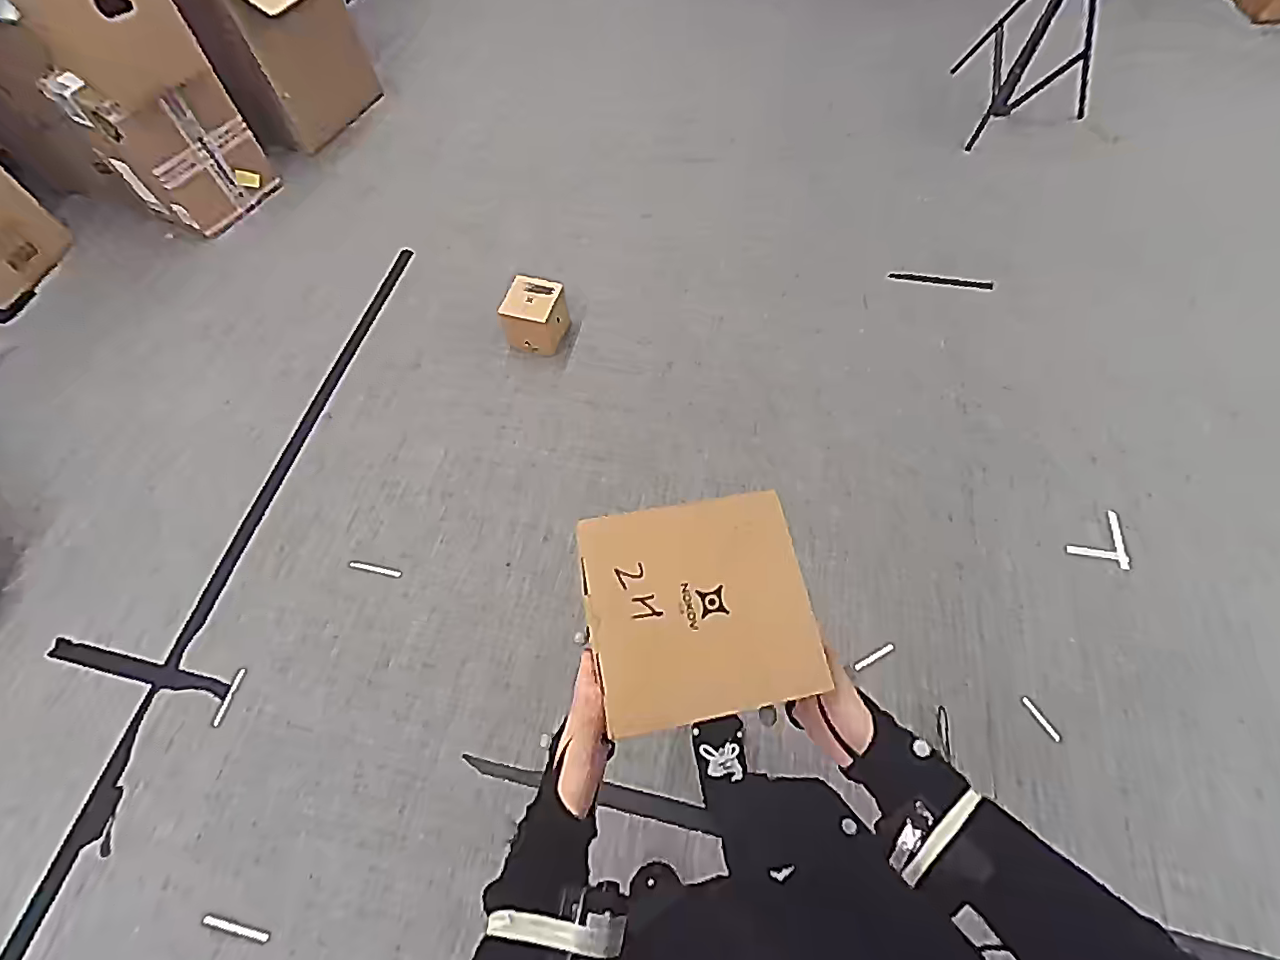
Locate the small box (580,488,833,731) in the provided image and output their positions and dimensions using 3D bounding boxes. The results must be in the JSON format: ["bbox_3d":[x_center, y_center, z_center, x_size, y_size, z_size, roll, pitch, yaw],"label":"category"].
[{"bbox_3d":[0.041,0.120,0.498,0.179,0.176,0.168,-9,70,-9],"label":"small box"}]
